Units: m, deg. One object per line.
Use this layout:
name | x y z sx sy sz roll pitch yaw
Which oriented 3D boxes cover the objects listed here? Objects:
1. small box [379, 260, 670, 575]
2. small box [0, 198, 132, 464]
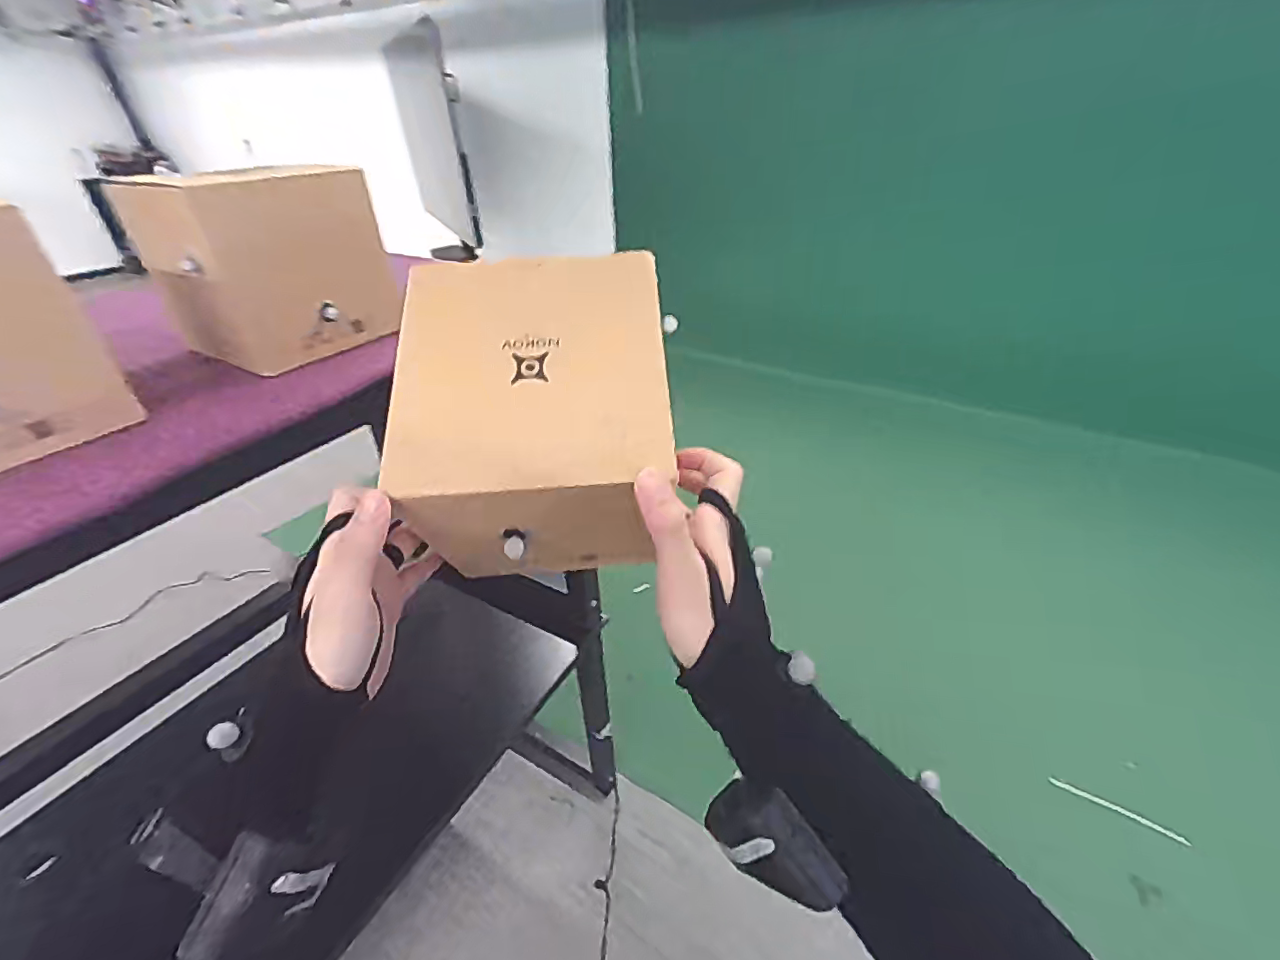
small box | -0.067 -0.033 0.404 0.168 0.176 0.179 -4 63 -2
small box | -0.535 -0.103 0.389 0.179 0.176 0.168 18 39 26
